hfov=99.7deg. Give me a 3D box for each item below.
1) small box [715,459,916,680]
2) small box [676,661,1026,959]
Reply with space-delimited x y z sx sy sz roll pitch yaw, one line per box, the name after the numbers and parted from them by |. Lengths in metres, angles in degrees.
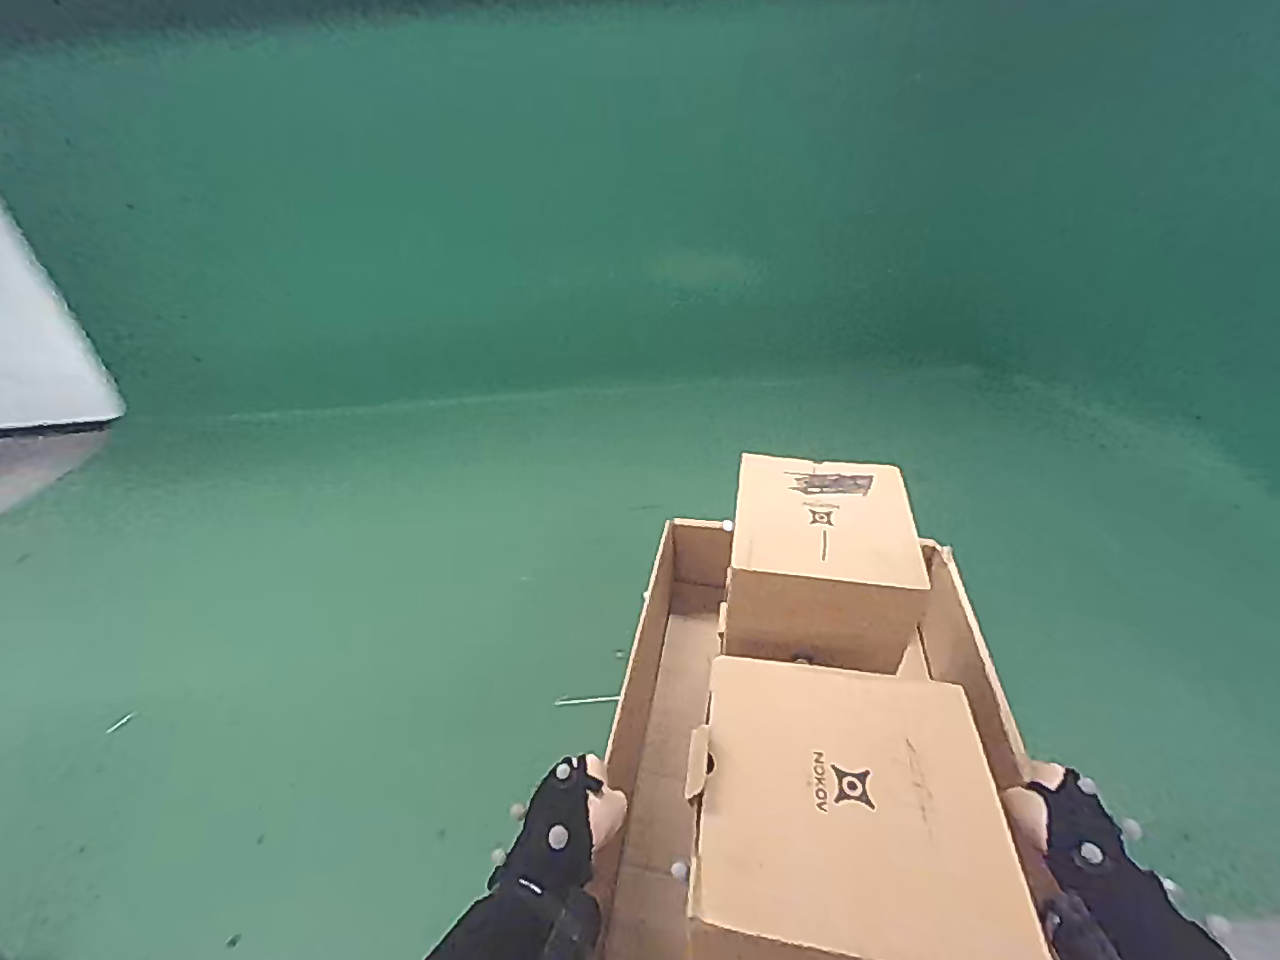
0.172 0.101 0.580 0.168 0.176 0.179 5 40 10 | small box
0.121 0.256 0.382 0.179 0.176 0.168 5 38 9 | small box
